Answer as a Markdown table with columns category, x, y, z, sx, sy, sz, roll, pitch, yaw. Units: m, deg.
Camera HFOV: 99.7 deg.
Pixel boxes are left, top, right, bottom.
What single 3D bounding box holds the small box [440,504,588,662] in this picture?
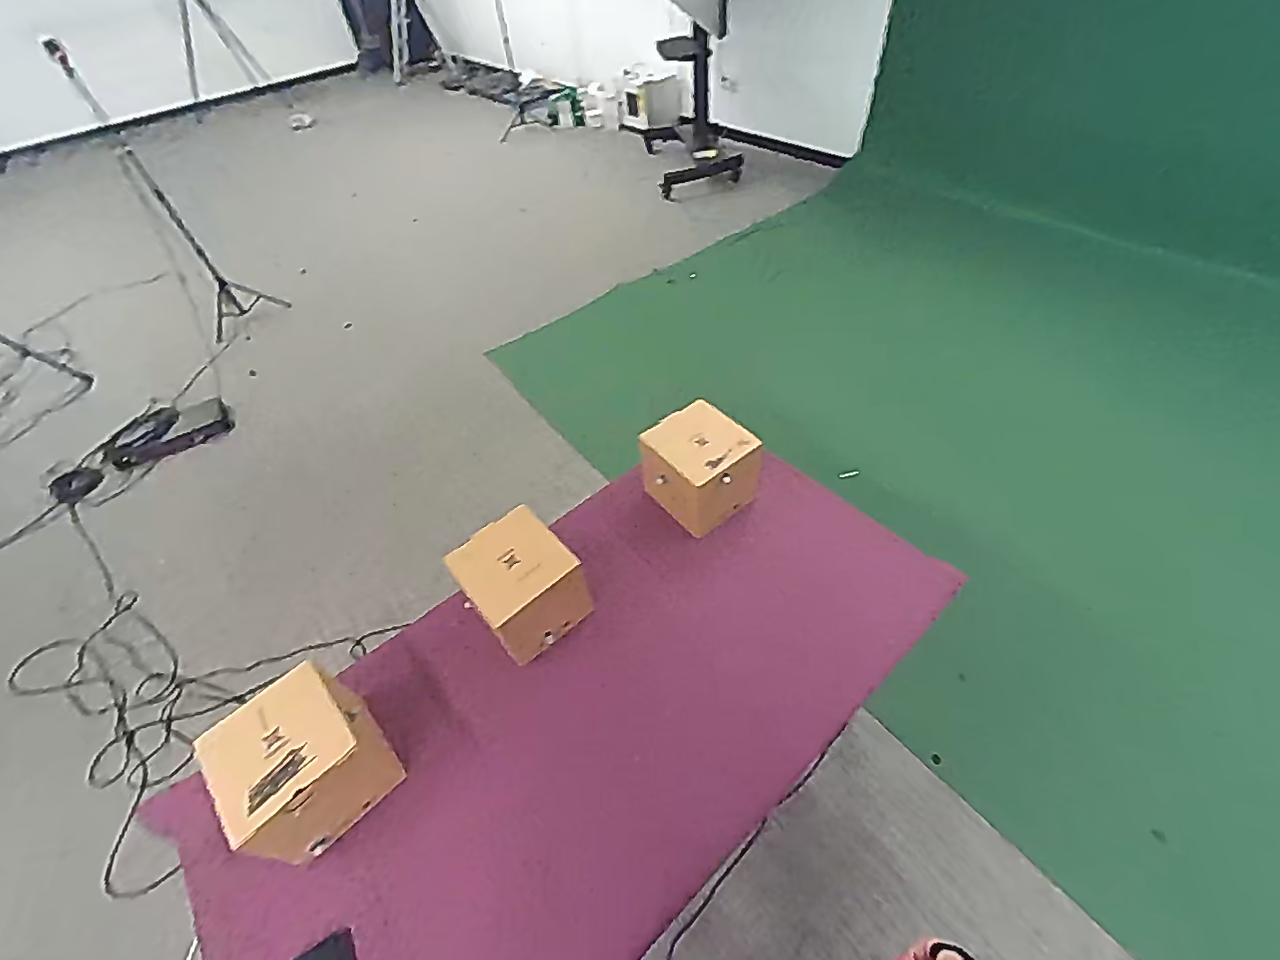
| category | x | y | z | sx | sy | sz | roll | pitch | yaw |
| --- | --- | --- | --- | --- | --- | --- | --- | --- | --- |
| small box | -0.213 | 0.182 | 0.944 | 0.168 | 0.176 | 0.179 | -36 | 55 | -22 |

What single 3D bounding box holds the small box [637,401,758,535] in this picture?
| category | x | y | z | sx | sy | sz | roll | pitch | yaw |
| --- | --- | --- | --- | --- | --- | --- | --- | --- | --- |
| small box | 0.113 | -0.022 | 1.088 | 0.168 | 0.176 | 0.179 | -33 | 53 | -20 |

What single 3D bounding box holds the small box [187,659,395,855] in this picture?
| category | x | y | z | sx | sy | sz | roll | pitch | yaw |
| --- | --- | --- | --- | --- | --- | --- | --- | --- | --- |
| small box | -0.488 | 0.401 | 0.778 | 0.168 | 0.176 | 0.179 | -38 | 55 | -25 |
